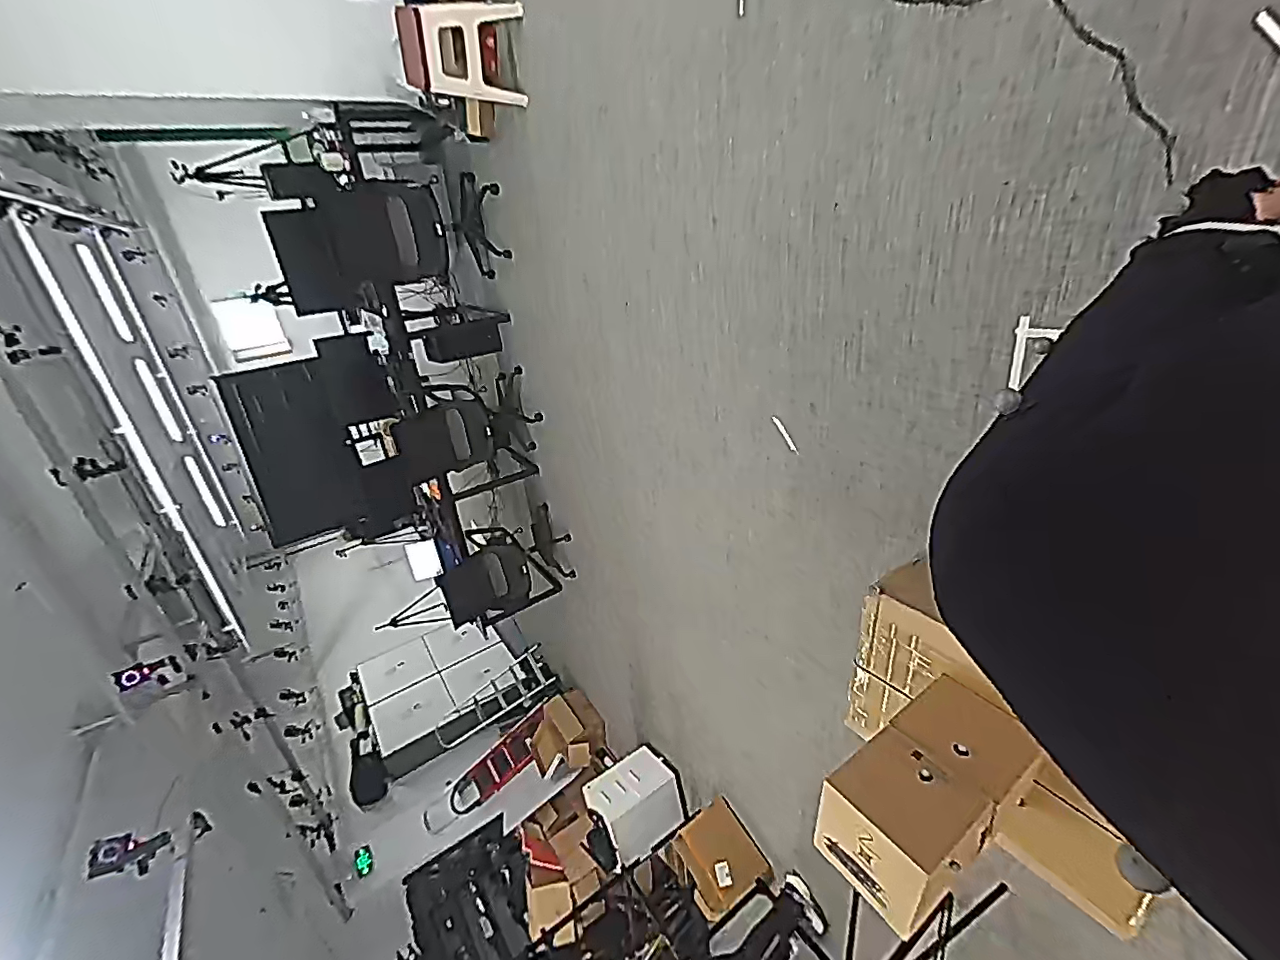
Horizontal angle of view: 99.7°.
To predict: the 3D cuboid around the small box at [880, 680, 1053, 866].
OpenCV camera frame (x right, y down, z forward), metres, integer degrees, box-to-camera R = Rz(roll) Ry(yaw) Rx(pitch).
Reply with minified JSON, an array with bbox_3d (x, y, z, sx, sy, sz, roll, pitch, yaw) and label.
[{"bbox_3d":[0.534,0.469,0.893,0.179,0.176,0.168,33,135,49],"label":"small box"}]
